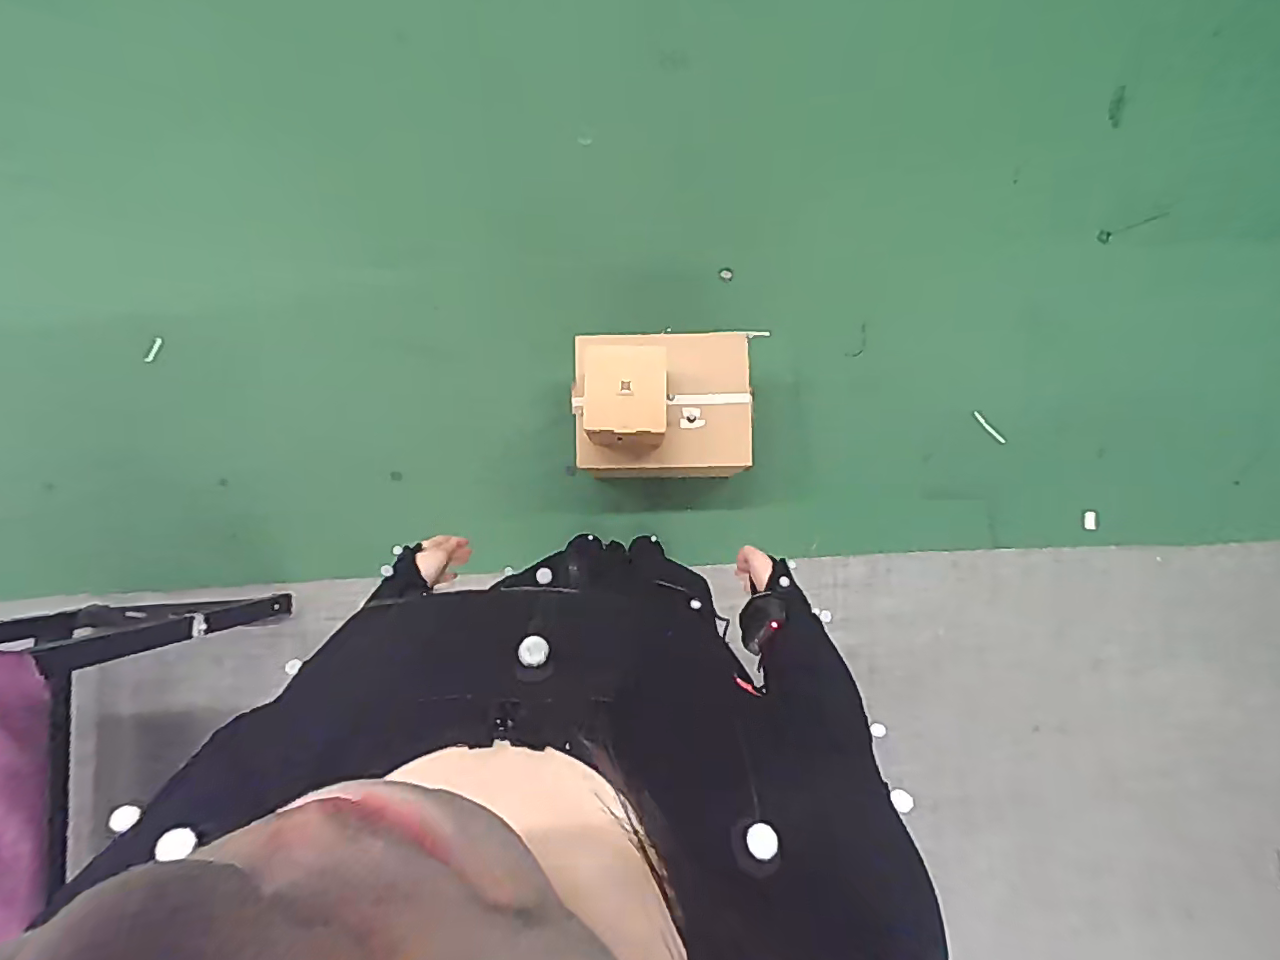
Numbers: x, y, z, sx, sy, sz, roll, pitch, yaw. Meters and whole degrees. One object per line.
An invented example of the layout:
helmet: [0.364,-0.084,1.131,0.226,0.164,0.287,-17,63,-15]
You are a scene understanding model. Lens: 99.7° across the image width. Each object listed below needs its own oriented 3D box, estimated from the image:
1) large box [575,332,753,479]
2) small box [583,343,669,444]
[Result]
large box: [0.051,-0.171,1.377,0.408,0.320,0.320,-1,87,-1]
small box: [-0.030,-0.174,1.133,0.168,0.176,0.179,1,87,-1]
